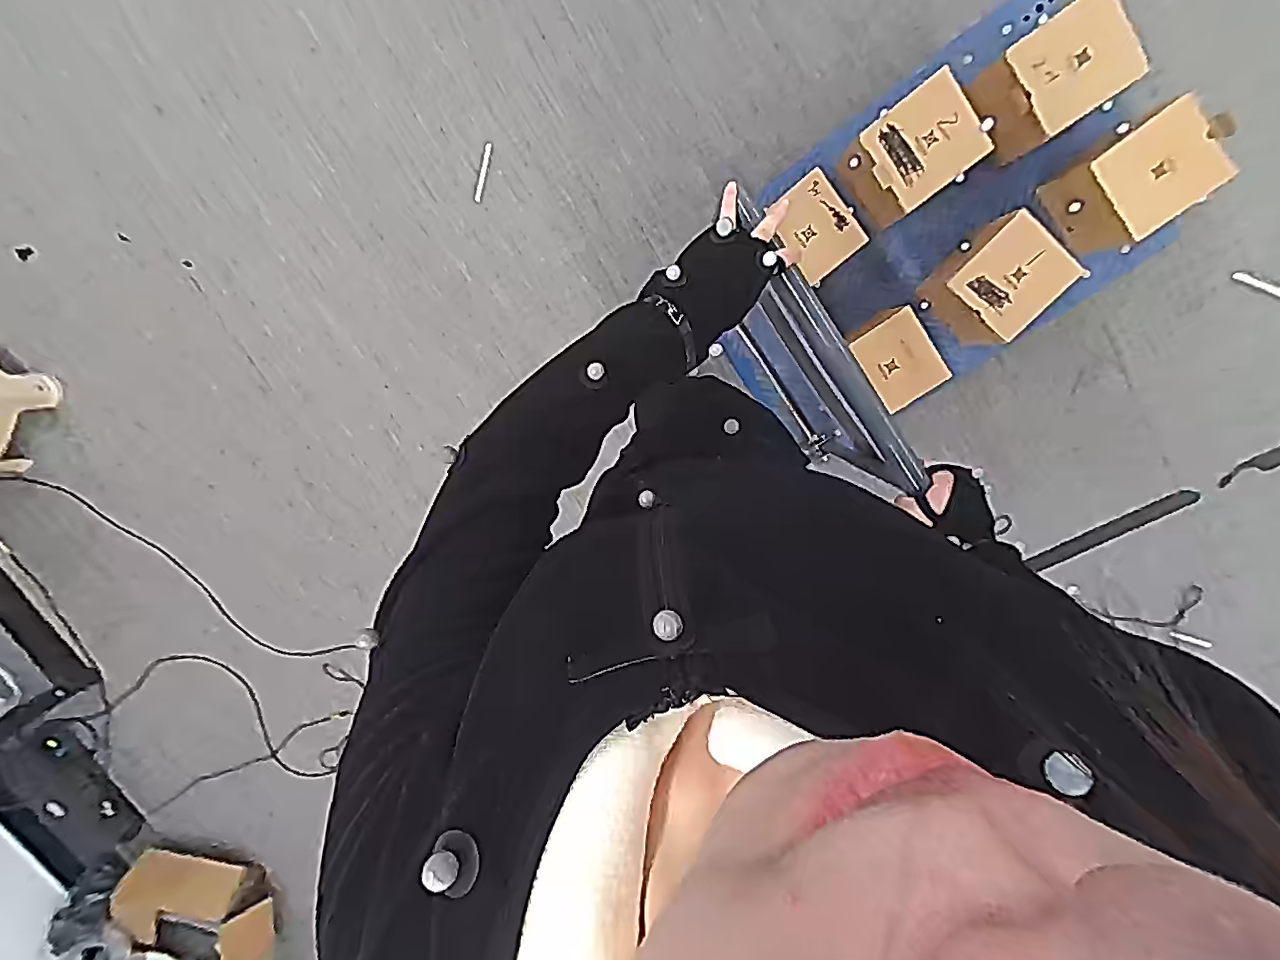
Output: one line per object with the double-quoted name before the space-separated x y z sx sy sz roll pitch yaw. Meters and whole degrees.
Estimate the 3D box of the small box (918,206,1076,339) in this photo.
"small box" 0.687 -0.396 1.072 0.168 0.176 0.179 42 103 -5

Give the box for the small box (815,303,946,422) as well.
"small box" 0.486 -0.243 1.130 0.179 0.176 0.168 -34 99 12

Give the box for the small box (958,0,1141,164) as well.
"small box" 0.731 -0.724 0.986 0.179 0.176 0.168 -32 98 13

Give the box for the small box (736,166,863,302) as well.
"small box" 0.308 -0.479 1.088 0.179 0.176 0.168 -38 98 13

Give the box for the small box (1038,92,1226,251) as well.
"small box" 0.897 -0.559 1.012 0.179 0.176 0.168 -37 97 13
